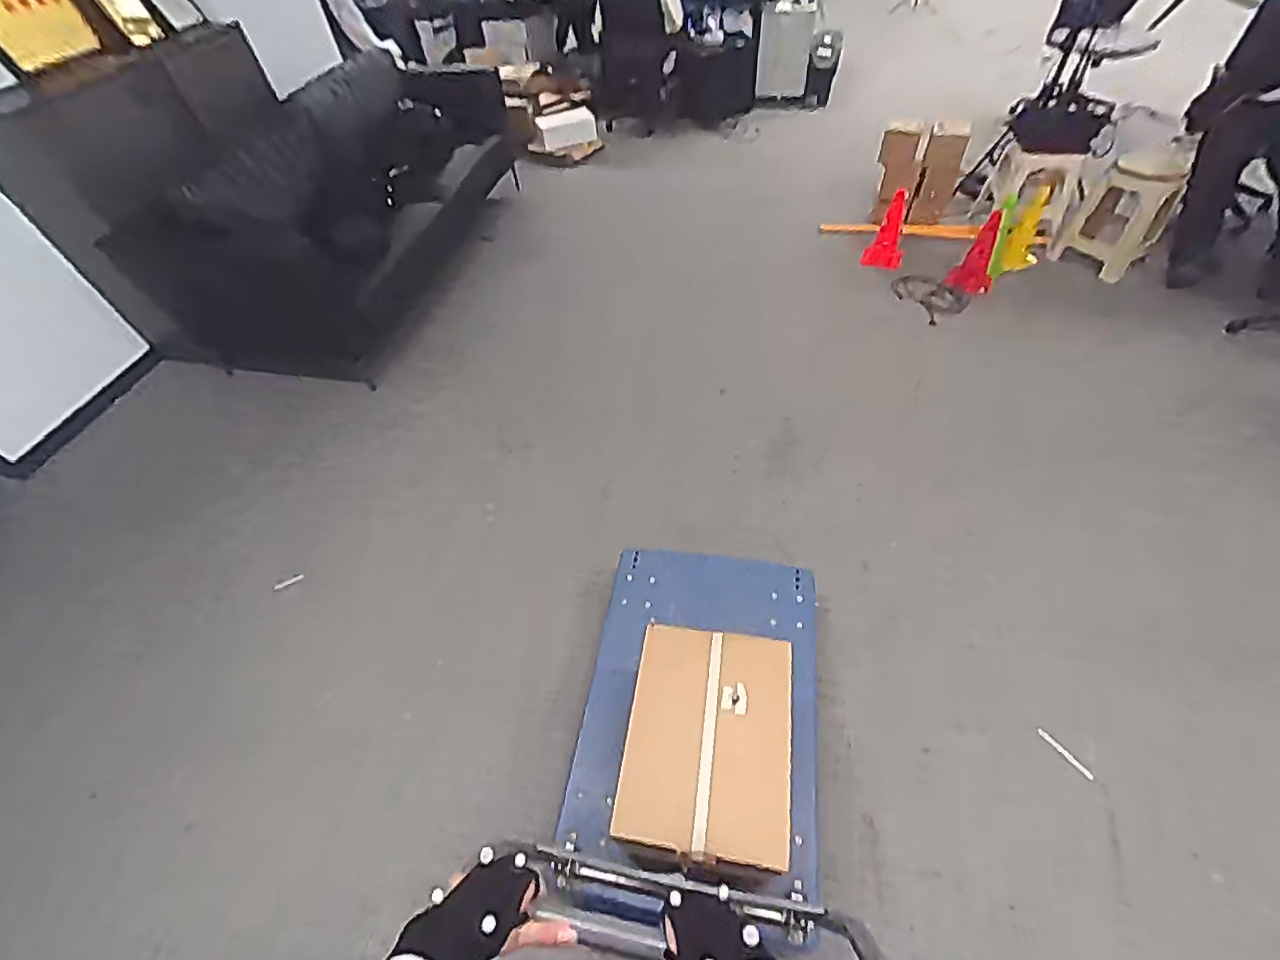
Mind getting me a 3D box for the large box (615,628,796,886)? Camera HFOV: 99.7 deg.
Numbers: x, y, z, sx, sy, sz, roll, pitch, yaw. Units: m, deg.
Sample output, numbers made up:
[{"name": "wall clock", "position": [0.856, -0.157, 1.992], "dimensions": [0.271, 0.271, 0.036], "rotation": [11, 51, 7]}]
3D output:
[{"name": "large box", "position": [0.149, 0.582, 1.149], "dimensions": [0.320, 0.320, 0.408], "rotation": [6, 51, 10]}]
